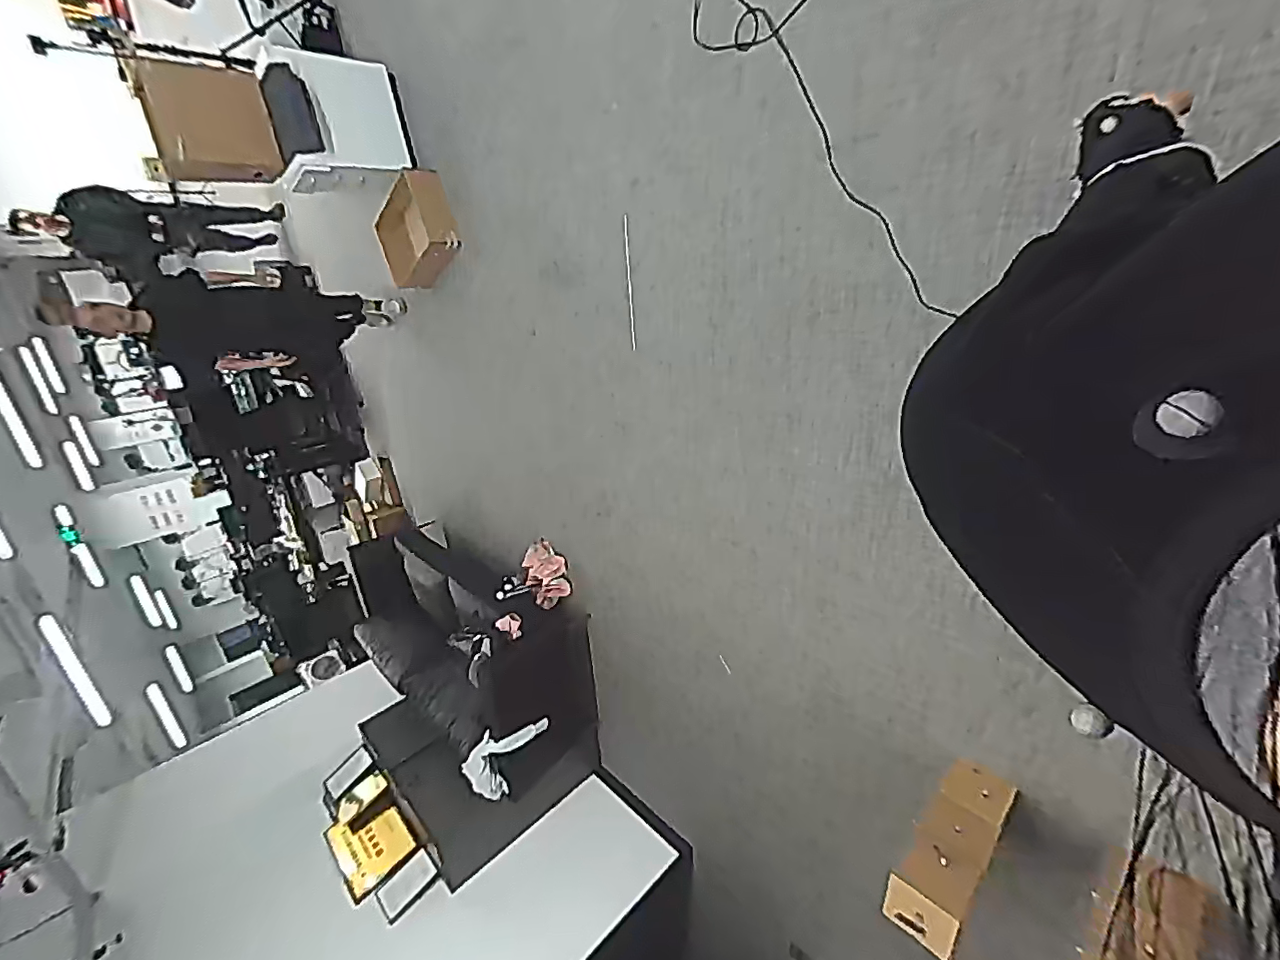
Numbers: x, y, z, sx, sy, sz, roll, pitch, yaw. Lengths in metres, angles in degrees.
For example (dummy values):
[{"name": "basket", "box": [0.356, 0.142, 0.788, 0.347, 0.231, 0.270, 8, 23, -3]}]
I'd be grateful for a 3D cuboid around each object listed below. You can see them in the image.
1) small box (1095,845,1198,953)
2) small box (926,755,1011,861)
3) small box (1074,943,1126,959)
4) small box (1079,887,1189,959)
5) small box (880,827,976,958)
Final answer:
[{"name": "small box", "box": [1.268, 1.074, 1.365, 0.179, 0.176, 0.168, 12, 117, 44]}, {"name": "small box", "box": [0.993, 0.978, 1.630, 0.168, 0.176, 0.179, 20, 122, 42]}, {"name": "small box", "box": [1.024, 1.152, 1.156, 0.179, 0.176, 0.168, 14, 119, 44]}, {"name": "small box", "box": [1.146, 1.117, 1.262, 0.179, 0.176, 0.168, 12, 116, 44]}, {"name": "small box", "box": [0.758, 1.075, 1.422, 0.168, 0.176, 0.179, 19, 121, 41]}]
